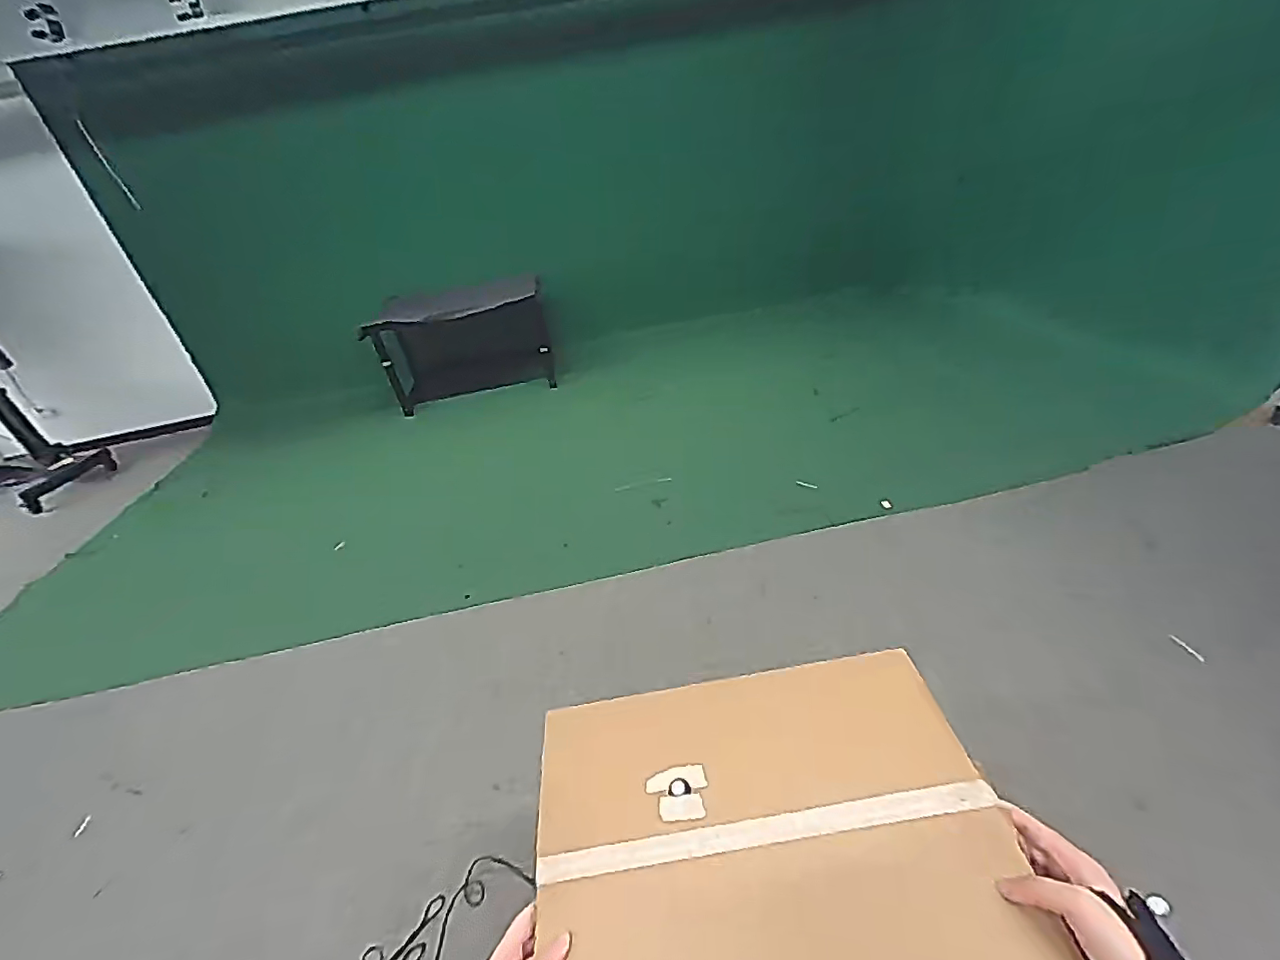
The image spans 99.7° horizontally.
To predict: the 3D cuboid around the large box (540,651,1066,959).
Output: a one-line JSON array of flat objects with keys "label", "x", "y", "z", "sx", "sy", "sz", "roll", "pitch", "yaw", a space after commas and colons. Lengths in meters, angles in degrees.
[{"label": "large box", "x": 0.135, "y": 0.437, "z": 0.579, "sx": 0.408, "sy": 0.320, "sz": 0.320, "roll": -12, "pitch": 36, "yaw": 3}]
